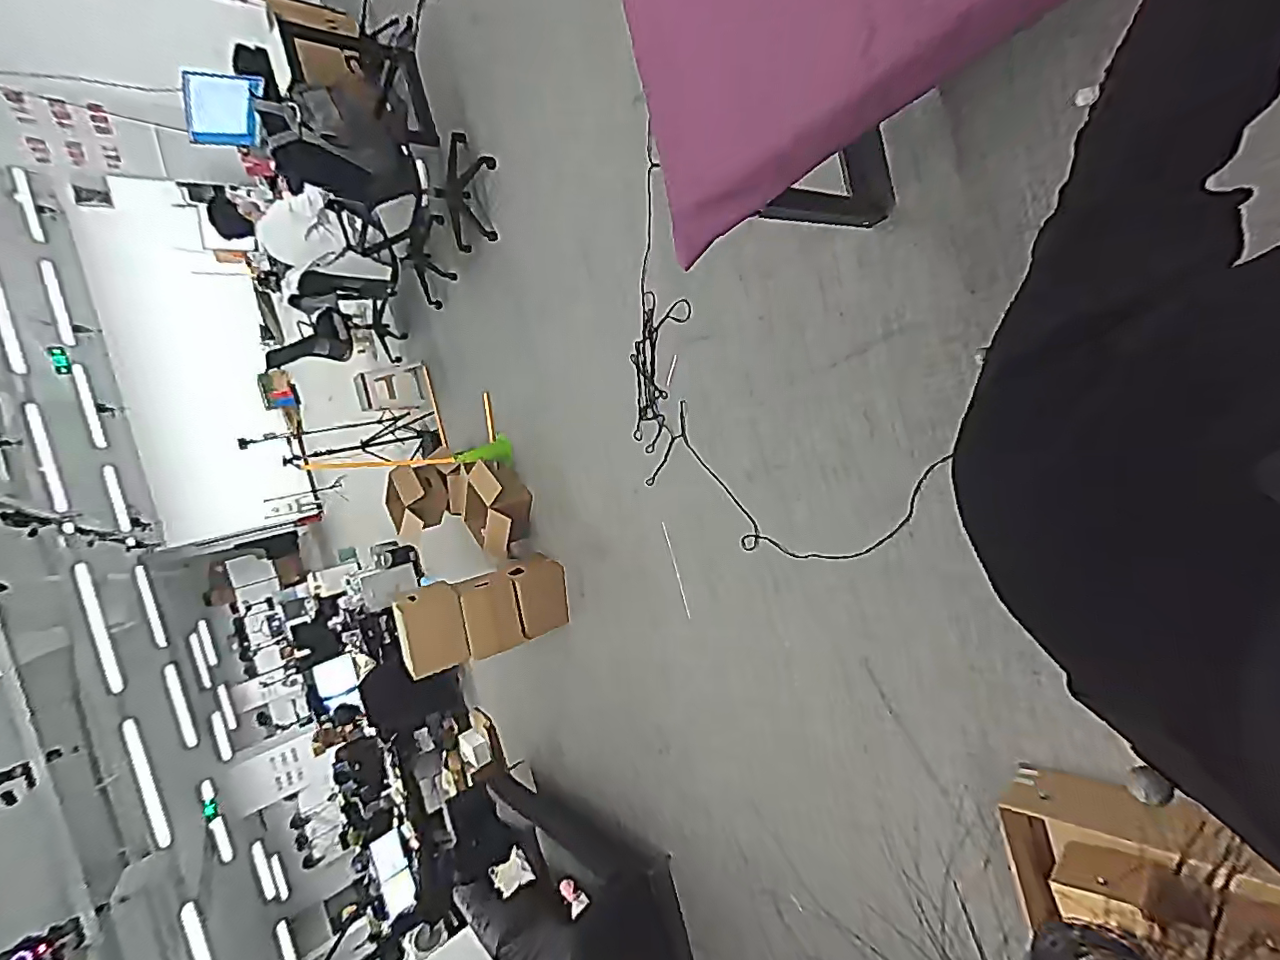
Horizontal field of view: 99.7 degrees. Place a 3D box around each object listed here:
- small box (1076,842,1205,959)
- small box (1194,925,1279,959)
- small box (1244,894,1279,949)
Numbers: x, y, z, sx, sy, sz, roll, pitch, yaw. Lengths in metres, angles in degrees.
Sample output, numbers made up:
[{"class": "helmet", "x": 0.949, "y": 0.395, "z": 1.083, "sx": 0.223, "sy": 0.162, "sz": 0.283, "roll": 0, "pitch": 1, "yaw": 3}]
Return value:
[{"class": "small box", "x": 1.178, "y": 0.993, "z": 1.268, "sx": 0.179, "sy": 0.176, "sz": 0.168, "roll": -26, "pitch": 81, "yaw": 54}, {"class": "small box", "x": 1.166, "y": 0.988, "z": 1.000, "sx": 0.168, "sy": 0.176, "sz": 0.179, "roll": -24, "pitch": 82, "yaw": 57}, {"class": "small box", "x": 1.327, "y": 0.962, "z": 1.052, "sx": 0.179, "sy": 0.176, "sz": 0.168, "roll": -21, "pitch": 85, "yaw": 57}]
